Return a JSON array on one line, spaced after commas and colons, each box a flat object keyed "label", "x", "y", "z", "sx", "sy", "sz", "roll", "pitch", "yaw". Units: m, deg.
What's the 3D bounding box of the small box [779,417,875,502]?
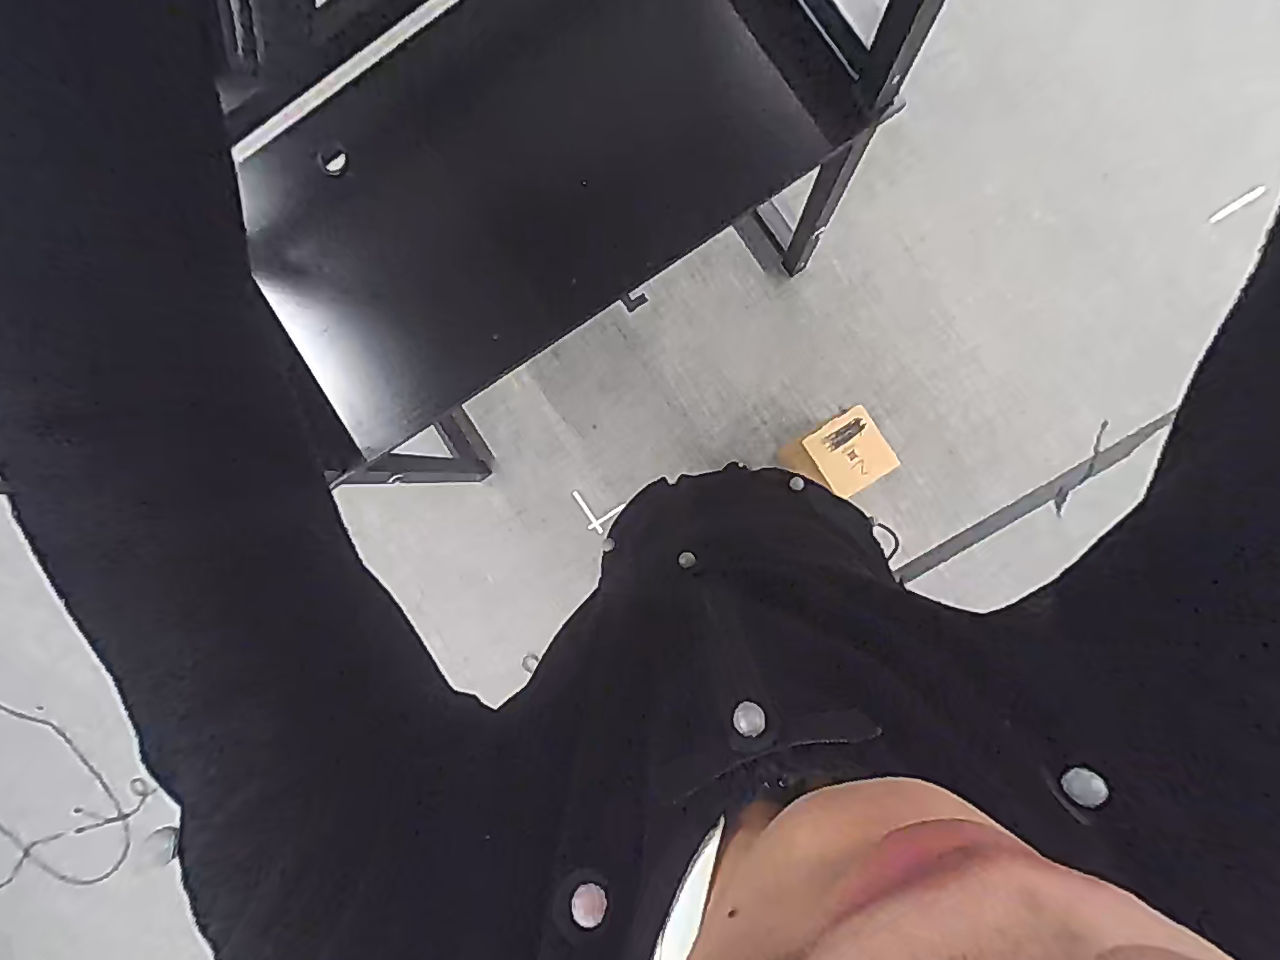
[{"label": "small box", "x": 0.513, "y": -0.055, "z": 1.513, "sx": 0.179, "sy": 0.176, "sz": 0.168, "roll": -35, "pitch": 86, "yaw": 5}]
